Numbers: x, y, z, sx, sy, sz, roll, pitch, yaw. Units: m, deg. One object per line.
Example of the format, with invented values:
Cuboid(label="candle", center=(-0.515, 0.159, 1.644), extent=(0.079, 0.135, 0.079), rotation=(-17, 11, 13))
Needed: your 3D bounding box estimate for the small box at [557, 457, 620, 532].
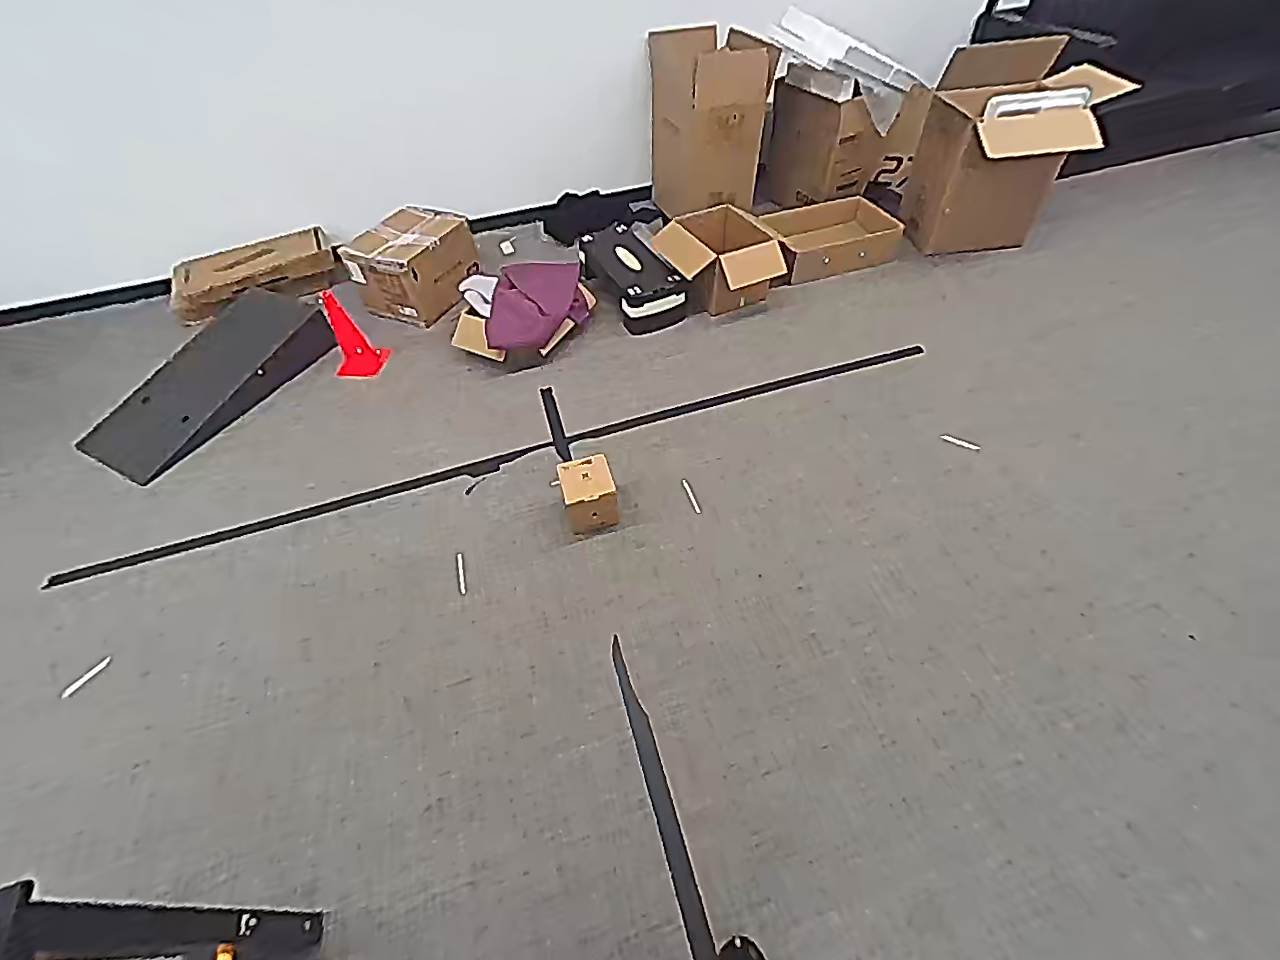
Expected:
Cuboid(label="small box", center=(-0.169, 0.055, 1.801), extent=(0.168, 0.176, 0.179), rotation=(-14, 51, -8))
